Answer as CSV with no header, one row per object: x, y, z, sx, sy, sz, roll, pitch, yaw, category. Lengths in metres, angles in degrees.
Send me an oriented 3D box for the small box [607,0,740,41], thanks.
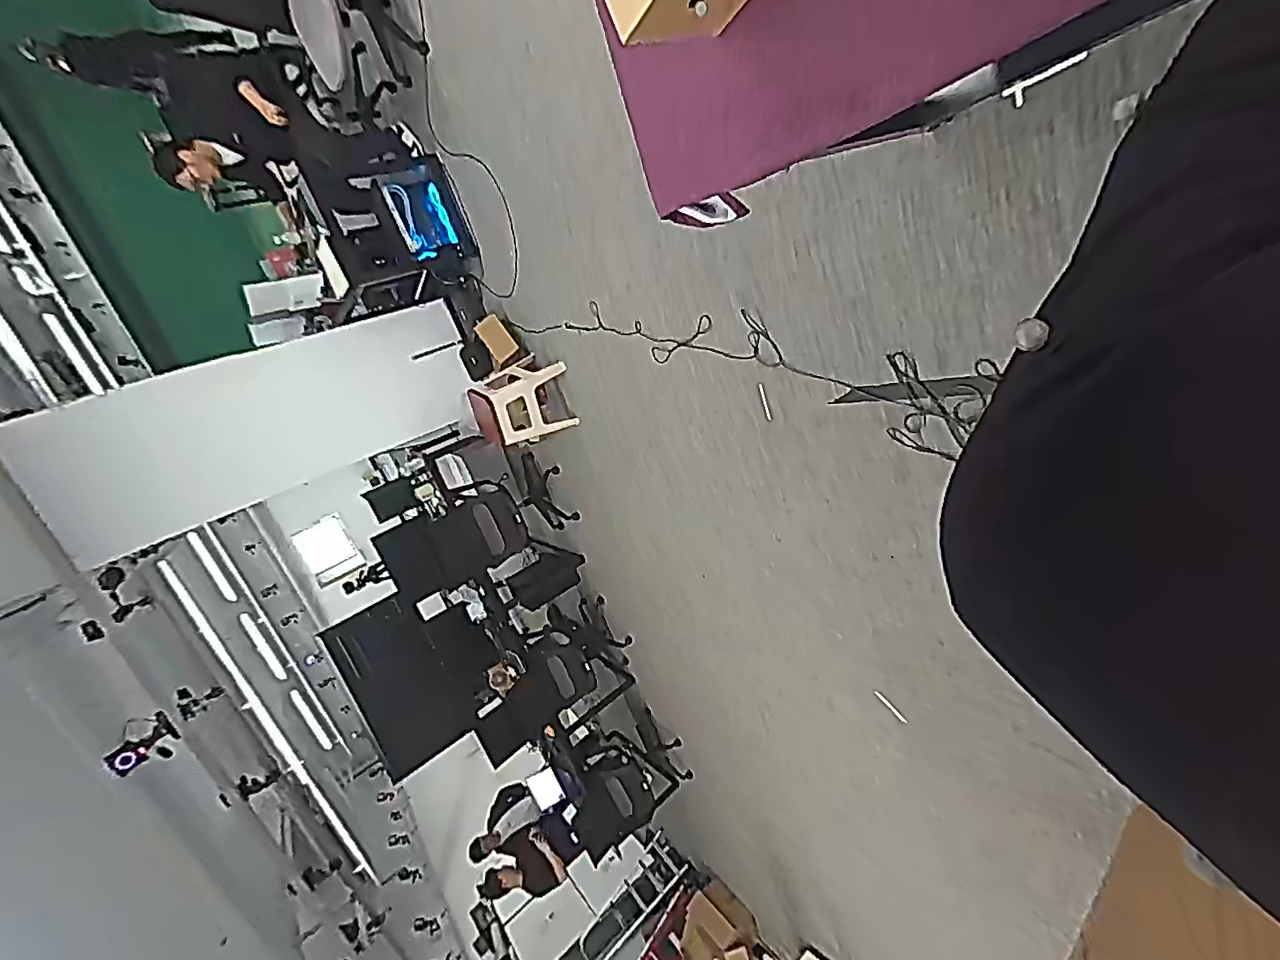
0.049,-0.629,0.583,0.168,0.176,0.179,-8,109,60,small box
